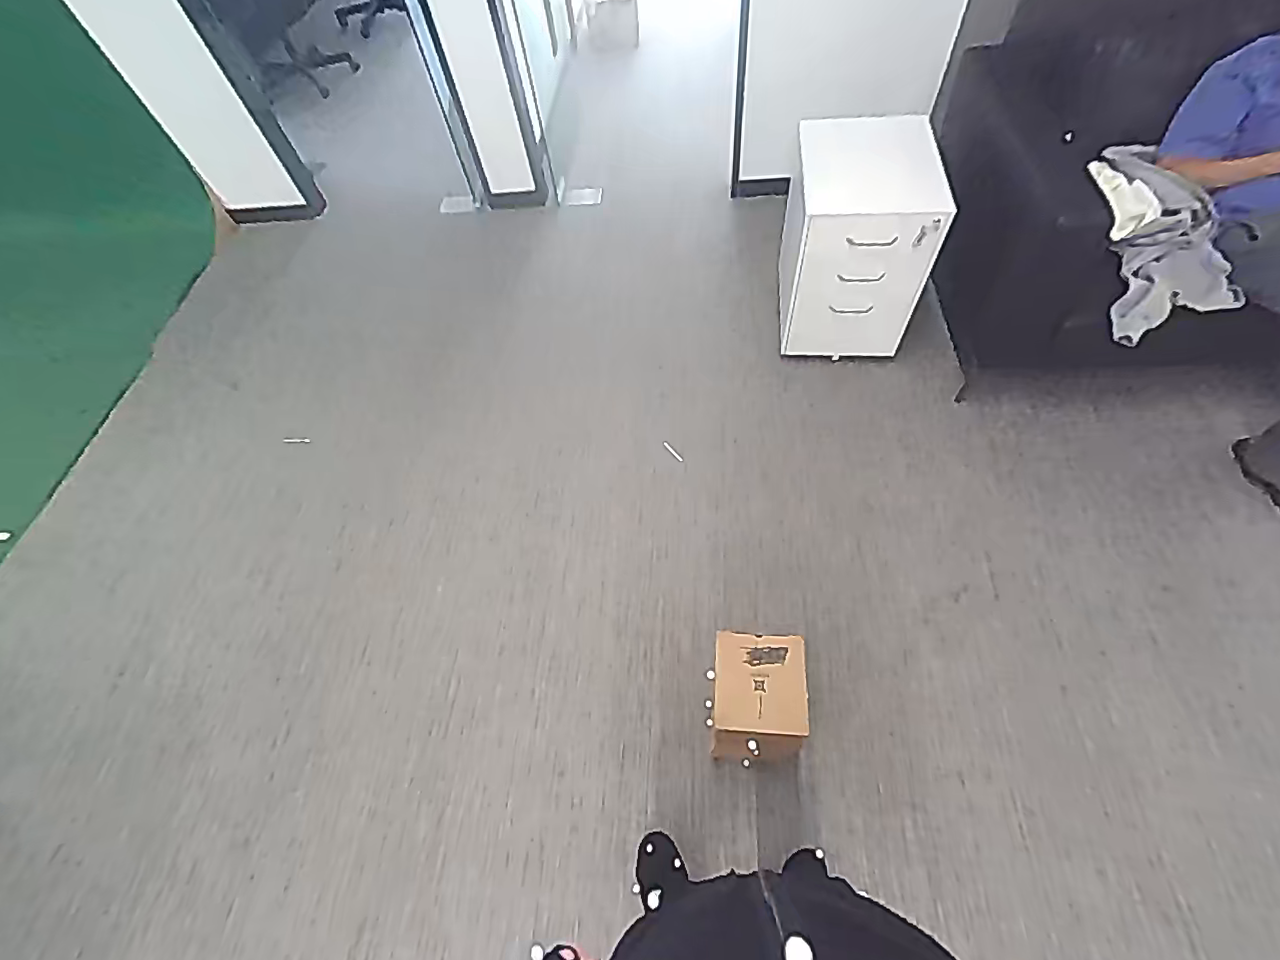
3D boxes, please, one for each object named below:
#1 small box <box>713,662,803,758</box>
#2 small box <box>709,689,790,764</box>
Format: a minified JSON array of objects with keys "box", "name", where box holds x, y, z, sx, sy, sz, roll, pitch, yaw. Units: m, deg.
[{"box":[0.251,0.509,1.190,0.179,0.176,0.168,2,58,6],"name":"small box"},{"box":[0.264,0.594,1.328,0.179,0.176,0.168,2,58,6],"name":"small box"}]
